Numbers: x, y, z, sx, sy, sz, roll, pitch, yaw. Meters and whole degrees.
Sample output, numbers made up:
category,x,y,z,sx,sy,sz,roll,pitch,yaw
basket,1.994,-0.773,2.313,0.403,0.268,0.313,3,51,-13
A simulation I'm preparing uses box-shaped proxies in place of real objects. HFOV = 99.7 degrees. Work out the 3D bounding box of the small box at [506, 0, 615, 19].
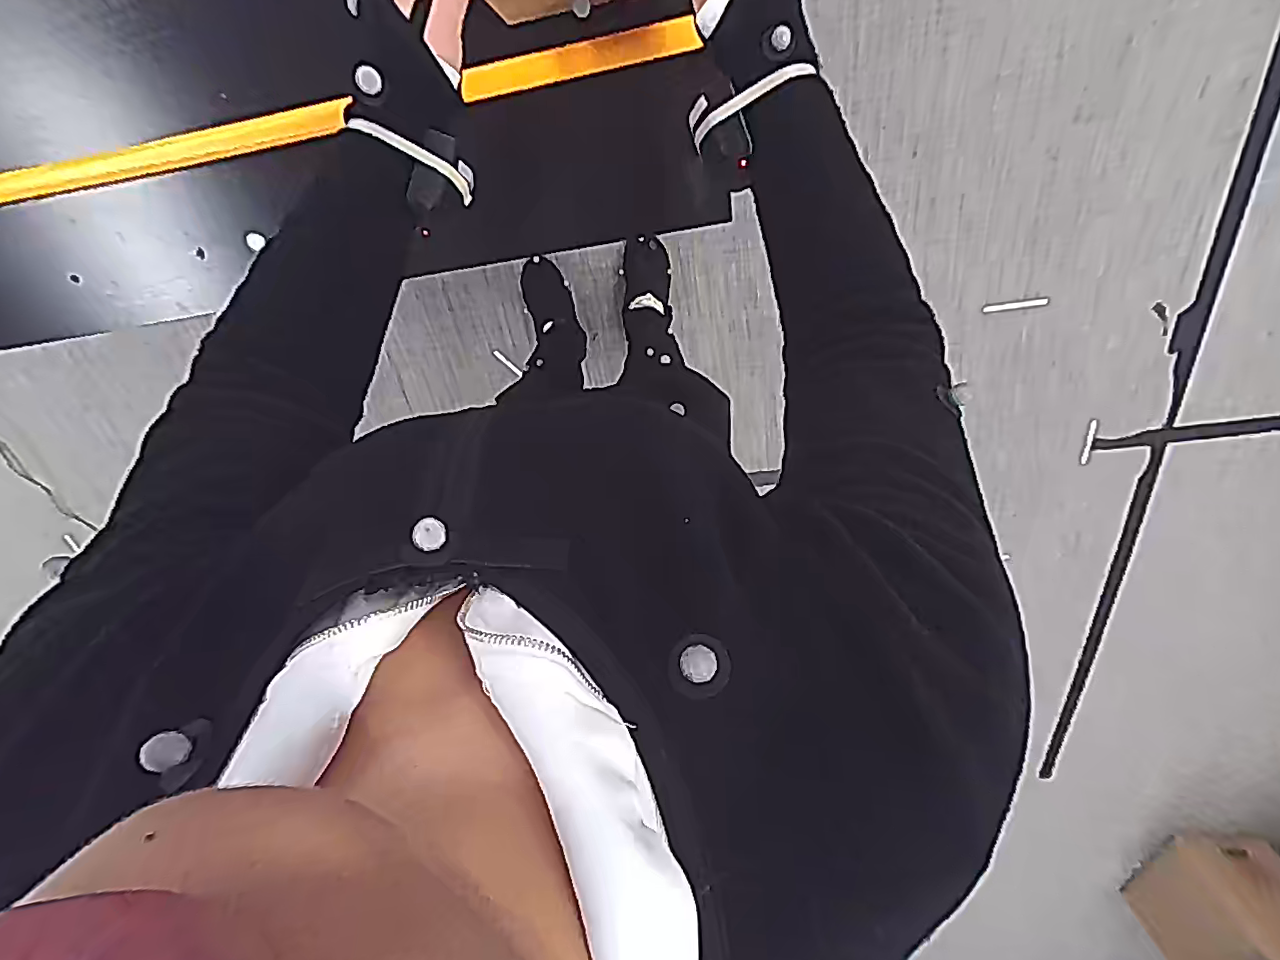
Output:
category,x,y,z,sx,sy,sz,roll,pitch,yaw
small box,-0.060,-0.488,0.401,0.168,0.176,0.179,-8,119,6
